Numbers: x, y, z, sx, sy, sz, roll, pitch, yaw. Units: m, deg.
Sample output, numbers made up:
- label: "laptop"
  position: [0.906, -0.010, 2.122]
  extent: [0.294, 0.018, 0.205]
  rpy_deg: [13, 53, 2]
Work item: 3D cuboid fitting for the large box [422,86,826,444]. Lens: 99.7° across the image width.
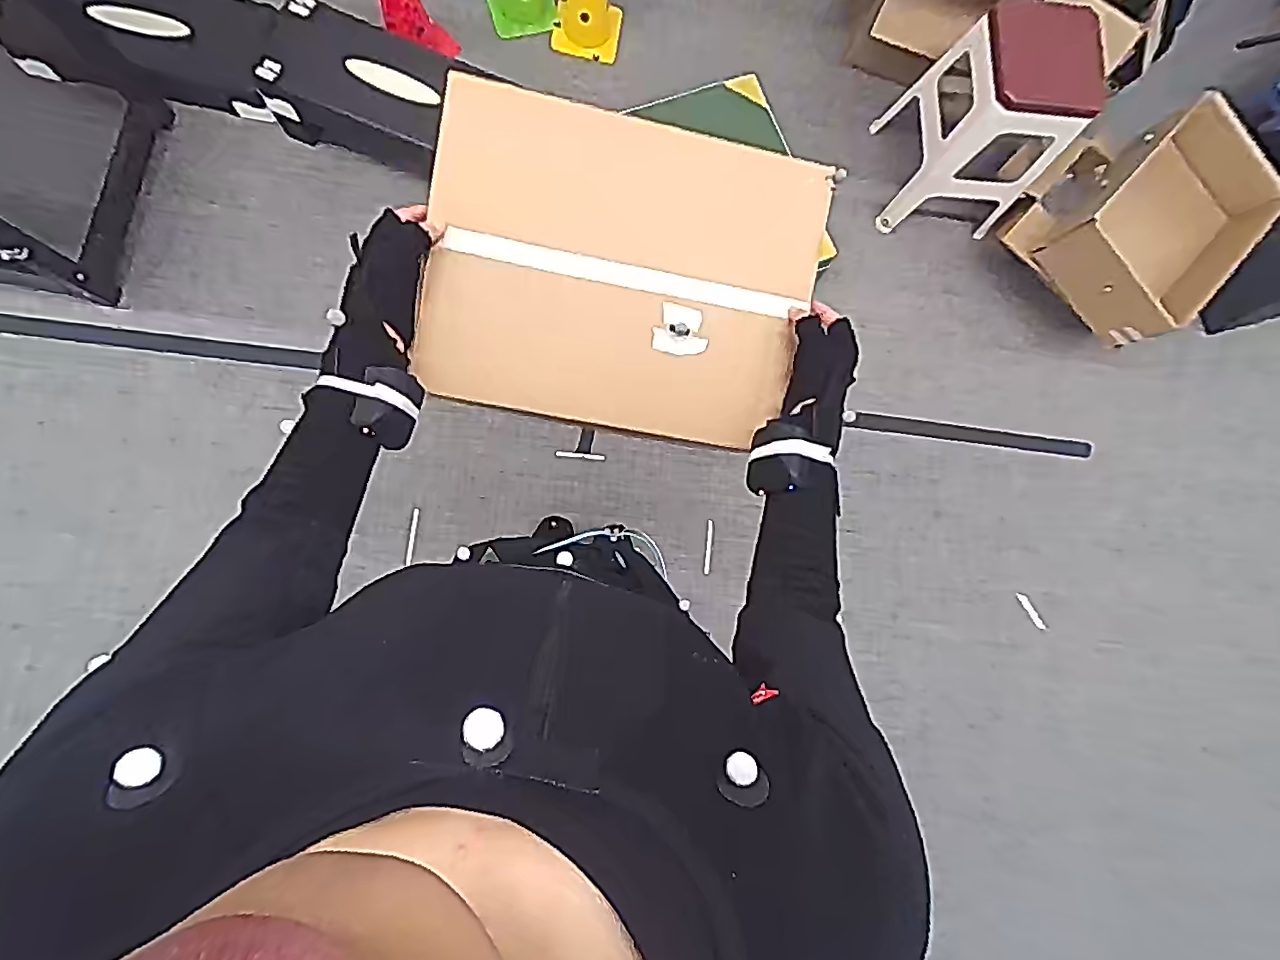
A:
- label: "large box"
  position: [-0.031, -0.233, 0.725]
  extent: [0.408, 0.320, 0.320]
  rpy_deg: [10, 95, -8]
